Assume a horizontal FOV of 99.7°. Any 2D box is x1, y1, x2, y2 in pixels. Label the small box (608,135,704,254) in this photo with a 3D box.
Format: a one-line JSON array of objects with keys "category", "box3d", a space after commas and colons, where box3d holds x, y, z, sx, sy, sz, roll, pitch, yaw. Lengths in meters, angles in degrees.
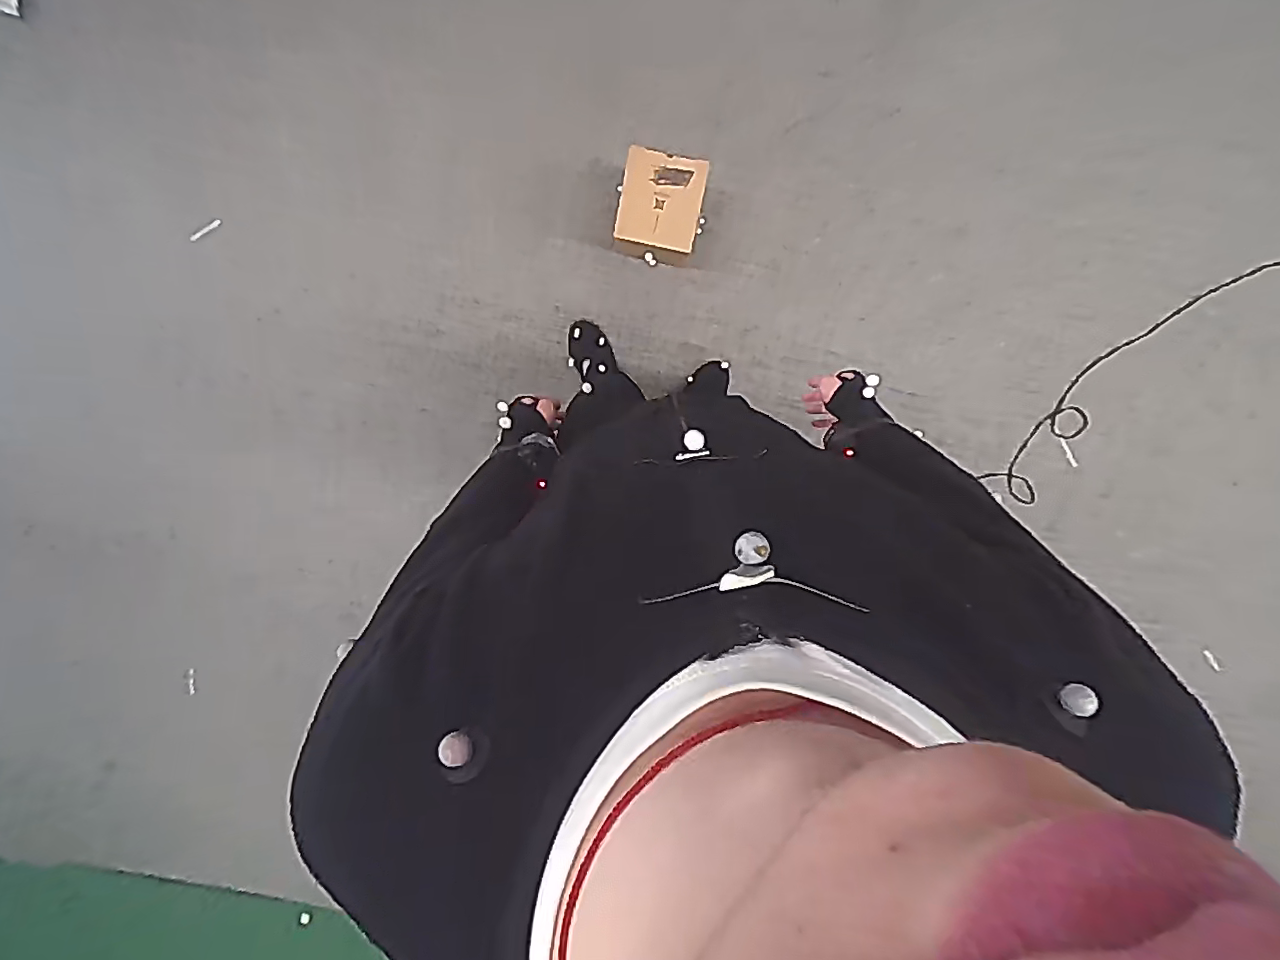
[{"category": "small box", "box3d": [0.030, -0.604, 1.165, 0.168, 0.176, 0.179, 12, 106, -2]}]
